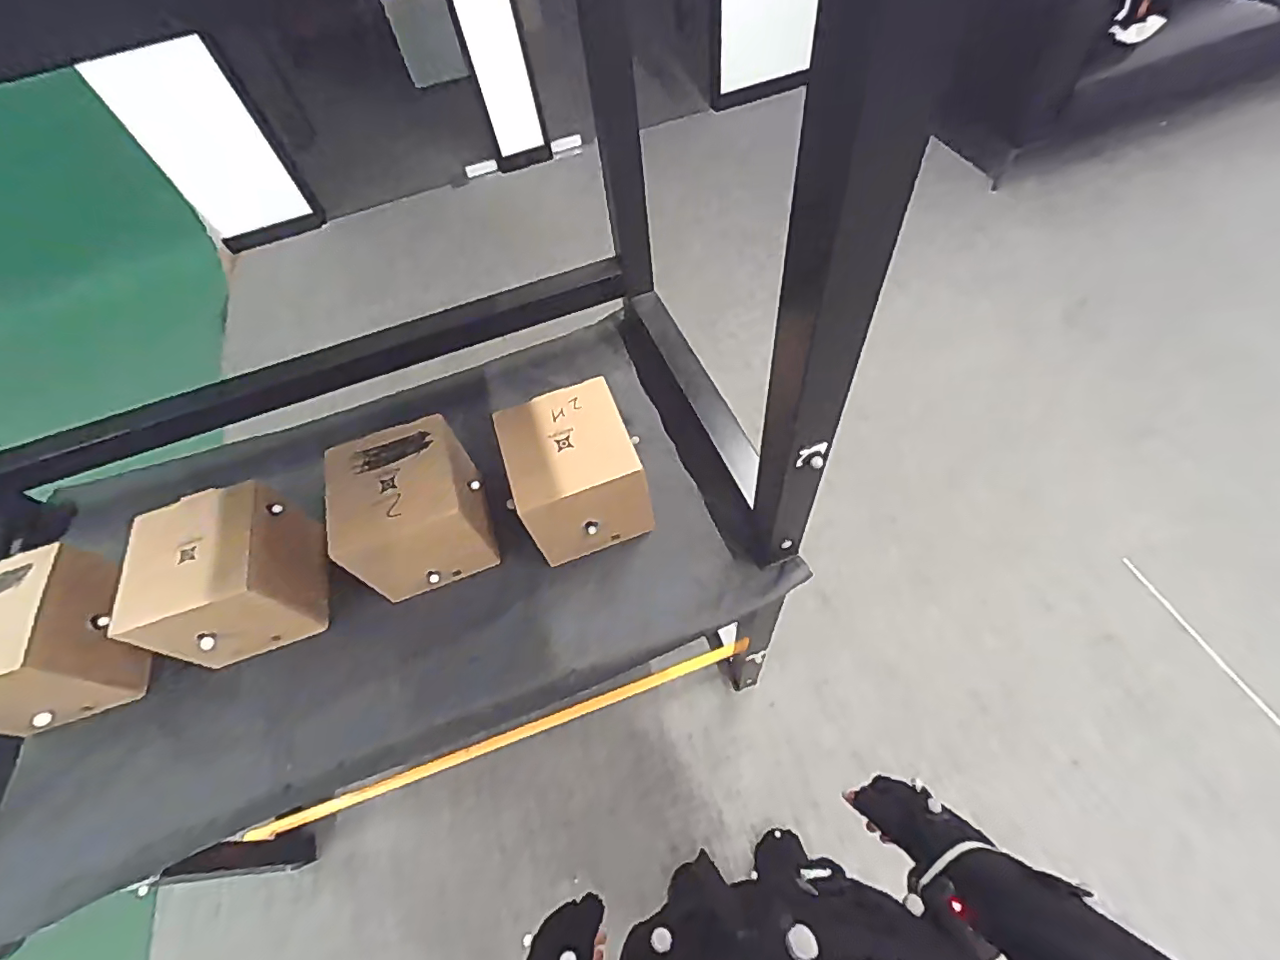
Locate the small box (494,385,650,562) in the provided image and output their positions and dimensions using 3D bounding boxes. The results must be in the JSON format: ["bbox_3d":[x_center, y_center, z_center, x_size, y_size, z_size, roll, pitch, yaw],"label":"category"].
[{"bbox_3d":[-0.091,0.000,0.779,0.168,0.176,0.179,-19,56,-5],"label":"small box"}]

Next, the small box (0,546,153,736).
[{"bbox_3d":[-0.800,0.220,0.727,0.168,0.176,0.179,-18,57,-5],"label":"small box"}]

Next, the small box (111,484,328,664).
[{"bbox_3d":[-0.561,0.140,0.752,0.168,0.176,0.179,-18,57,-5],"label":"small box"}]
